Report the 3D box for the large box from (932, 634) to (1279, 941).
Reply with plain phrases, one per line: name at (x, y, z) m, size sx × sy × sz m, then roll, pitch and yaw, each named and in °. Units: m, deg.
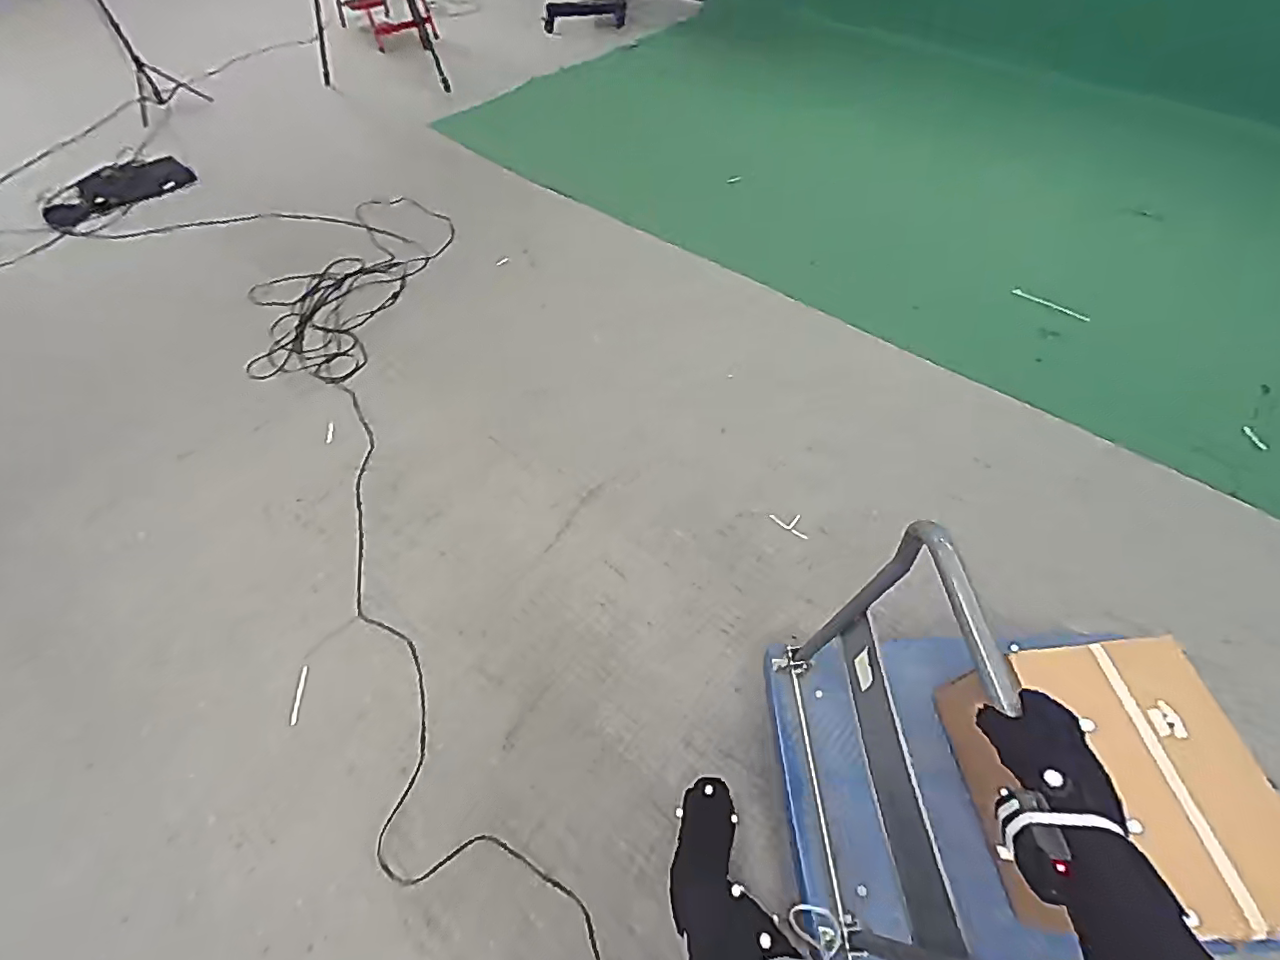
large box at (0.814, 0.539, 0.976) m, size 0.320 × 0.320 × 0.408 m, roll -4°, pitch 54°, yaw -4°
